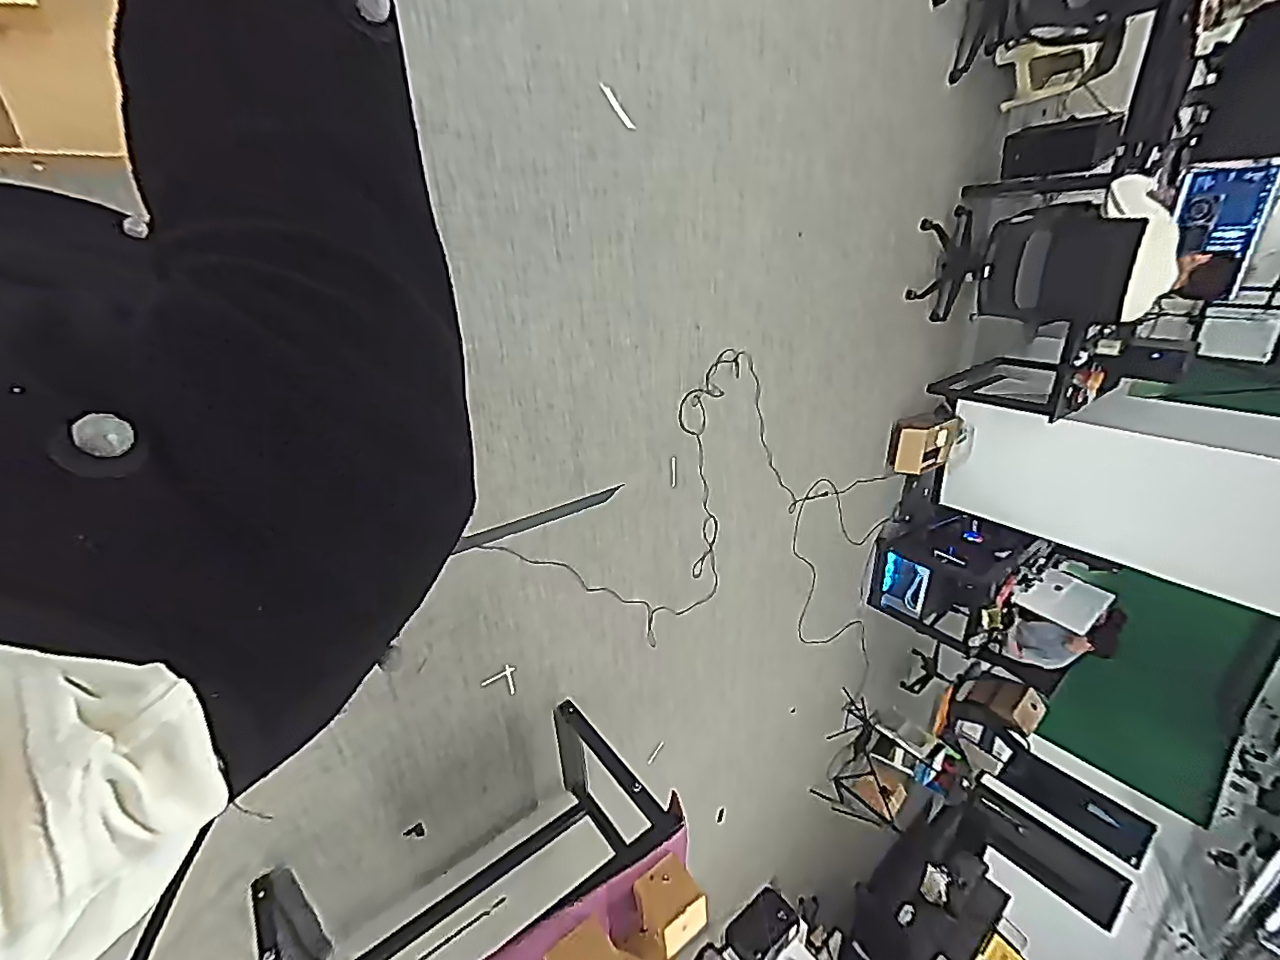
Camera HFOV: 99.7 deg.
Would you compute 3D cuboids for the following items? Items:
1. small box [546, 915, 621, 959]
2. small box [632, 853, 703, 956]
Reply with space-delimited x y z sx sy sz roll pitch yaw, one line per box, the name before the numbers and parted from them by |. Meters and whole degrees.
small box | -0.164 1.452 1.590 0.179 0.176 0.168 -19 119 -34
small box | 0.091 1.384 1.776 0.168 0.176 0.179 -22 120 -30
